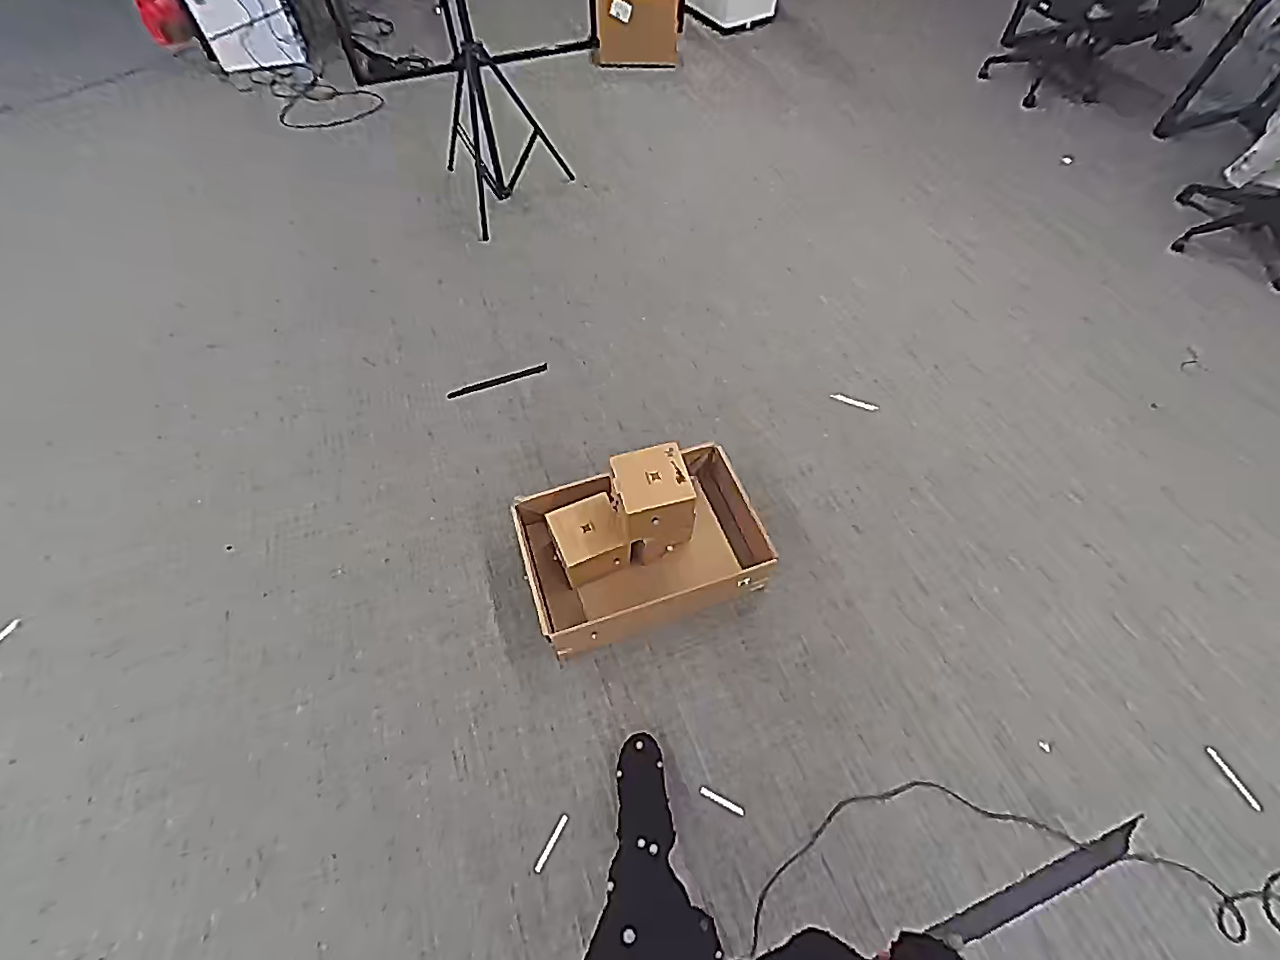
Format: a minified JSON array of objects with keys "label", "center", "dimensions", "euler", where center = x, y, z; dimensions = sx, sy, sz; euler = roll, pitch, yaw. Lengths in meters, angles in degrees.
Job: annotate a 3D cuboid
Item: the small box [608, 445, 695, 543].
[{"label":"small box","center":[0.028,0.040,1.356],"dimensions":[0.179,0.176,0.168],"euler":[-14,61,-7]}]
